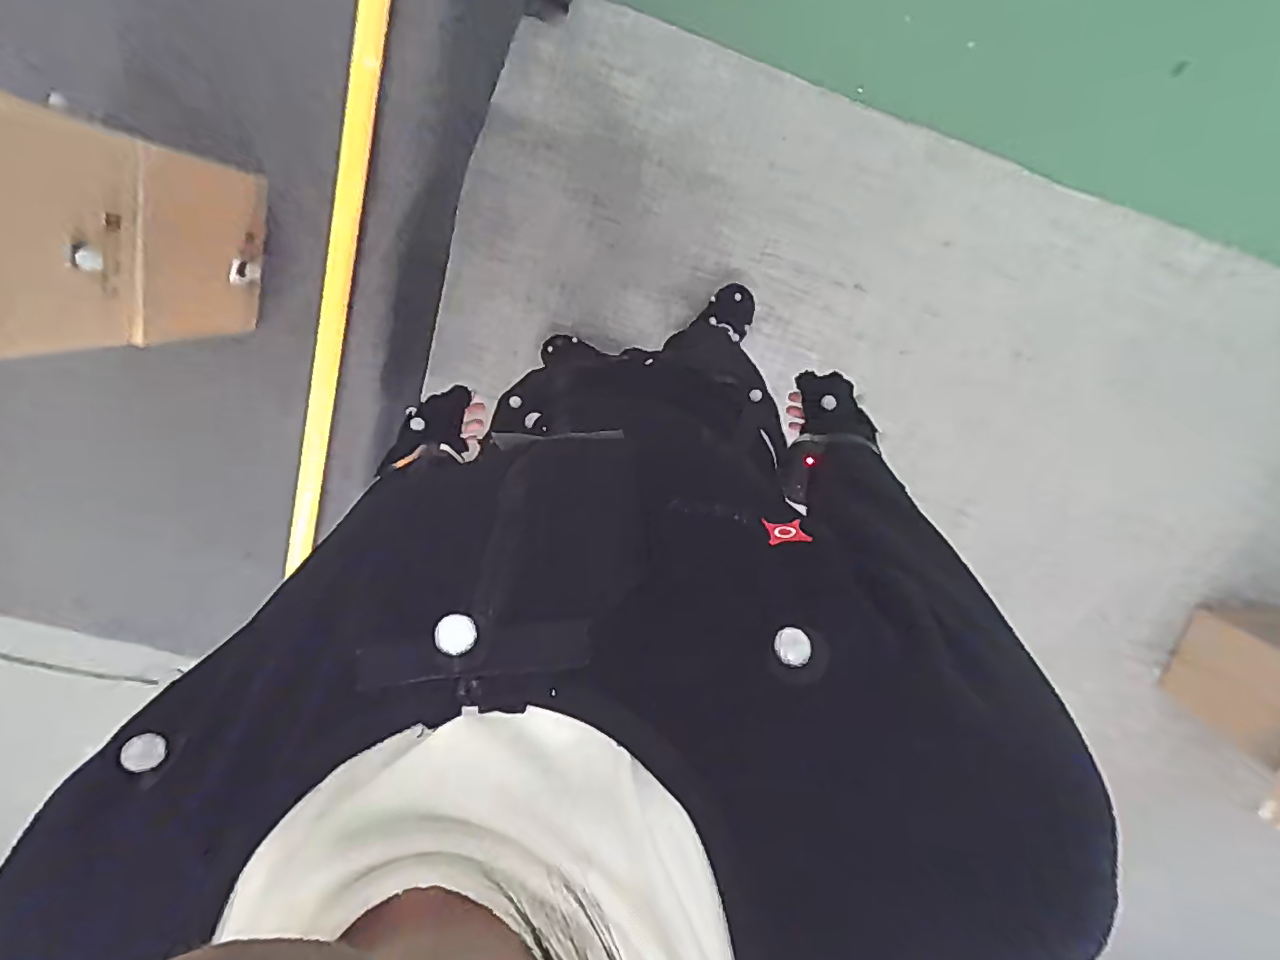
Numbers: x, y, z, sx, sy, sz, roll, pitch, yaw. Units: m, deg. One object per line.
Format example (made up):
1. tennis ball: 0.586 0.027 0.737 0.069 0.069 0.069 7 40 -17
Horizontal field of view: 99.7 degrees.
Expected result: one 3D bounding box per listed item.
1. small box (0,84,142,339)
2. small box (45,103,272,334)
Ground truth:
1. small box: -0.507 -0.199 0.370 0.179 0.176 0.168 19 109 -7
2. small box: -0.504 -0.252 0.526 0.179 0.176 0.168 15 110 -7
